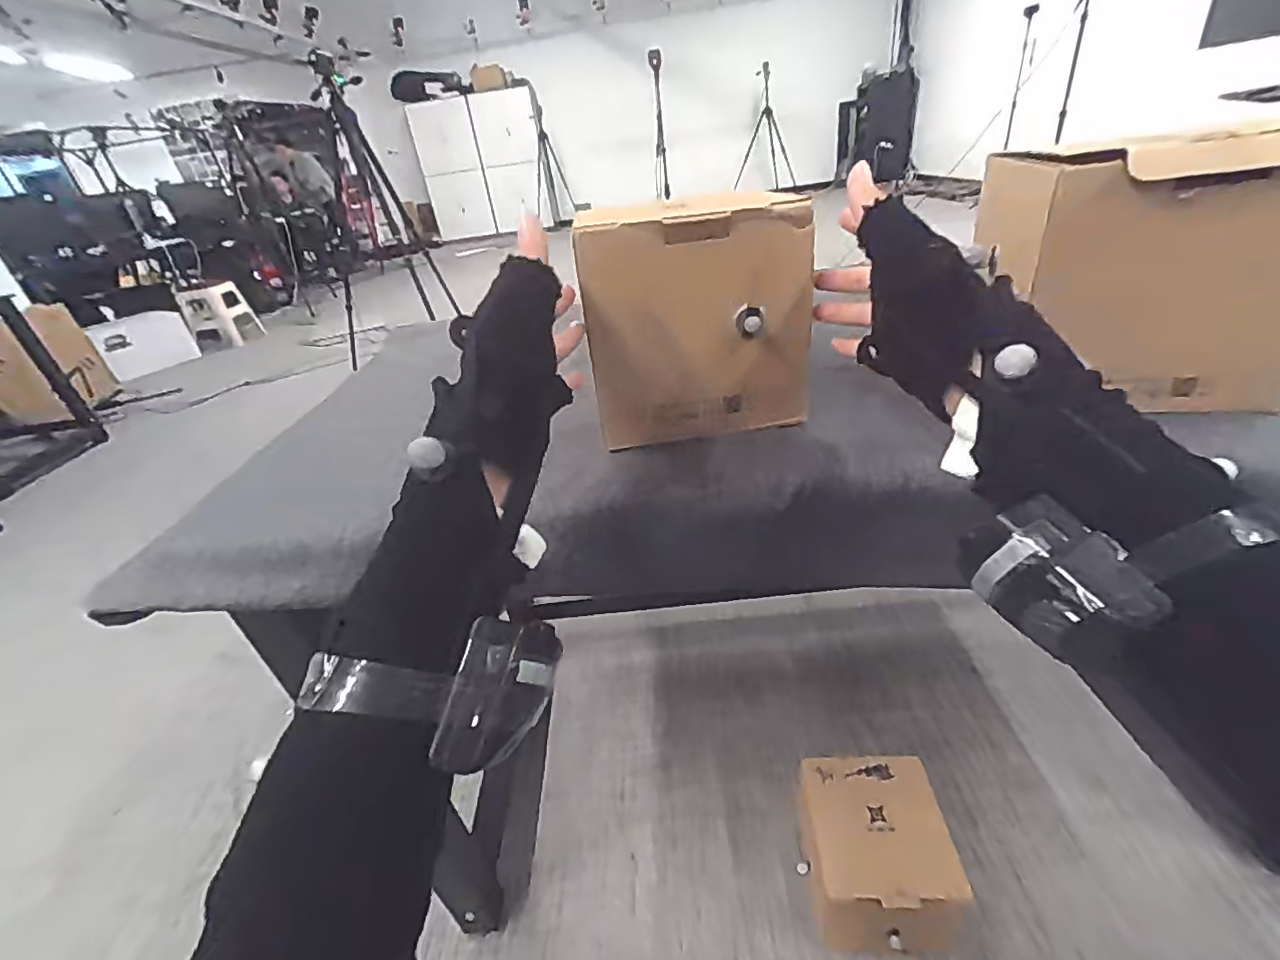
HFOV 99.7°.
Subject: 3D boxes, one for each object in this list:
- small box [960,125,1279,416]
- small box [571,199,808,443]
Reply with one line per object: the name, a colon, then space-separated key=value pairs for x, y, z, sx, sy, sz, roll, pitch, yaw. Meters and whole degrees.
small box: x=0.364 y=-0.156 z=0.414 sx=0.168 sy=0.176 sz=0.179 roll=2 pitch=32 yaw=17
small box: x=0.039 y=-0.138 z=0.472 sx=0.168 sy=0.176 sz=0.179 roll=-7 pitch=28 yaw=-1
